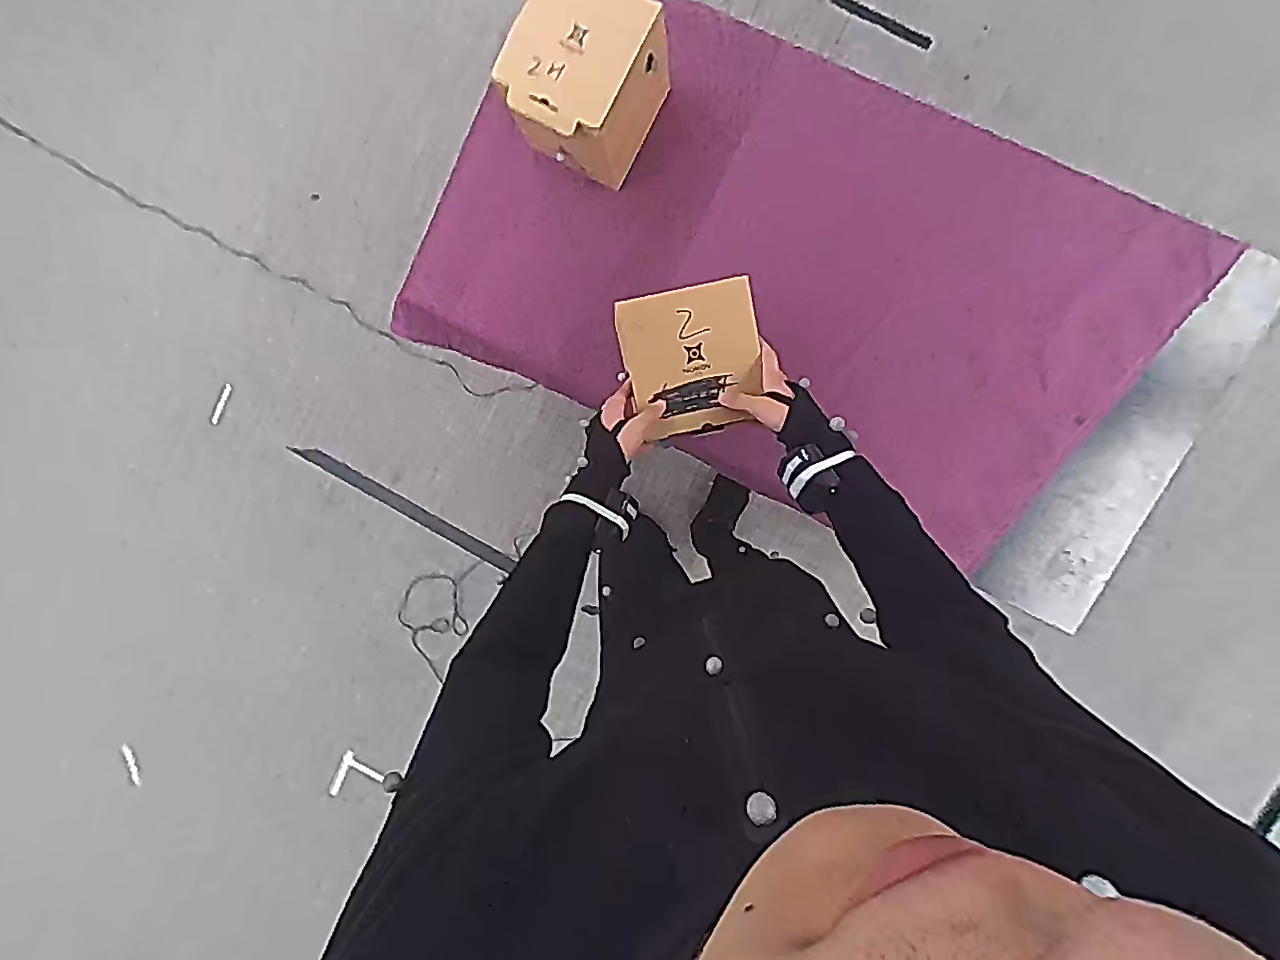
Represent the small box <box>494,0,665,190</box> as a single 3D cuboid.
[{"bbox_3d":[-0.074,-0.562,0.771,0.168,0.176,0.179,29,97,4],"label":"small box"}]
